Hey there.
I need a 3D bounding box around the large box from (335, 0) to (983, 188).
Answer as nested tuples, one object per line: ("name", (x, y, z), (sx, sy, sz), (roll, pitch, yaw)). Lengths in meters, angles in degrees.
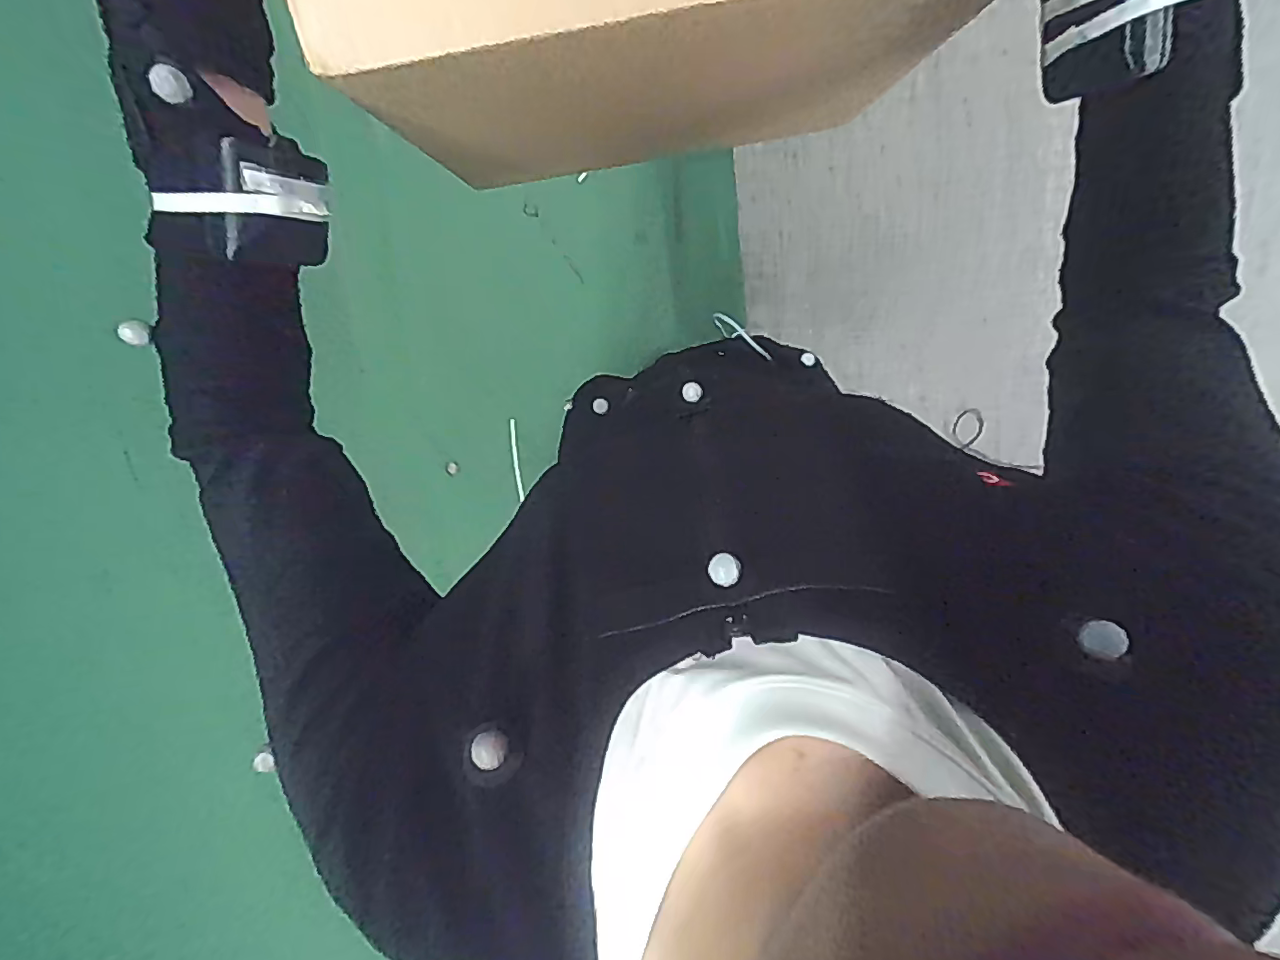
("large box", (0.006, -0.443, 0.389), (0.408, 0.320, 0.320), (-9, 108, 1))
